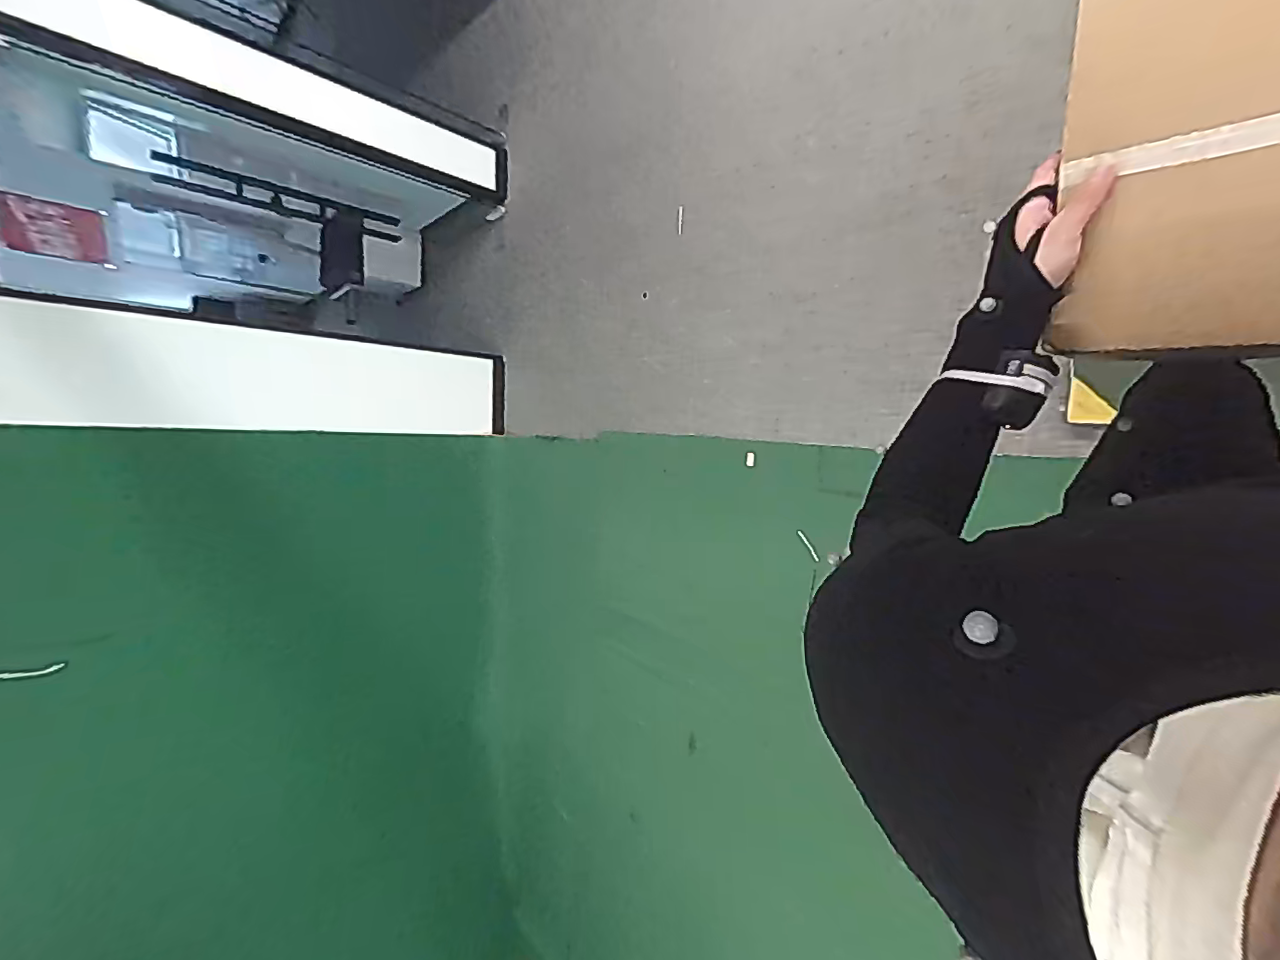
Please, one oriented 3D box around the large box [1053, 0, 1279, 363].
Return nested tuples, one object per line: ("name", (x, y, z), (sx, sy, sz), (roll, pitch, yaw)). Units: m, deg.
("large box", (0.639, -0.277, 0.475), (0.408, 0.320, 0.320), (8, 103, 42))
